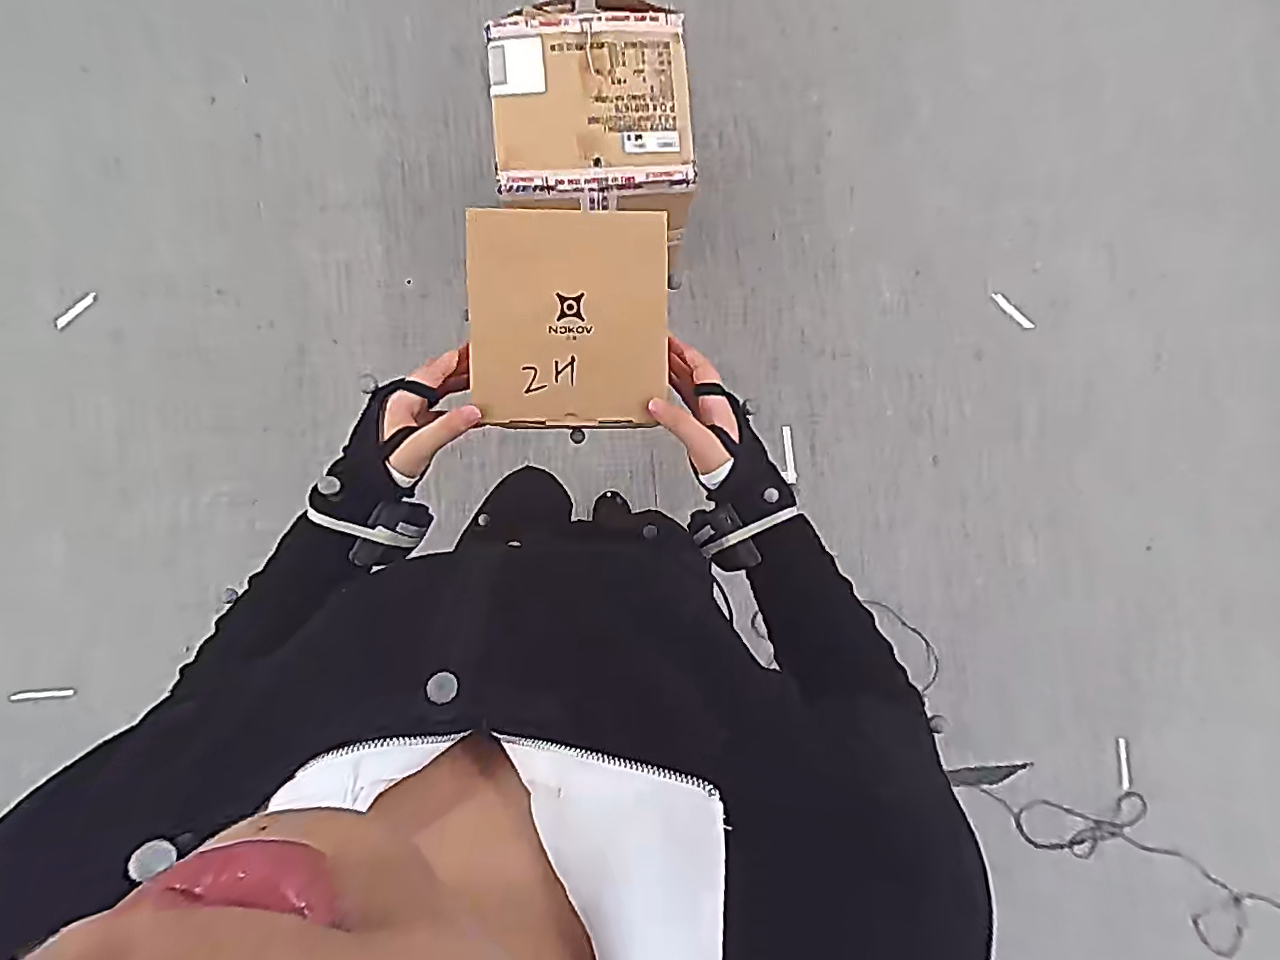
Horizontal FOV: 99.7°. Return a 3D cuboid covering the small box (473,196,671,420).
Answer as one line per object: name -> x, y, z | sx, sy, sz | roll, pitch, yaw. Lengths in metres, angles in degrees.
small box -> -0.061, -0.151, 0.531 | 0.168, 0.176, 0.179 | -1, 94, -3
